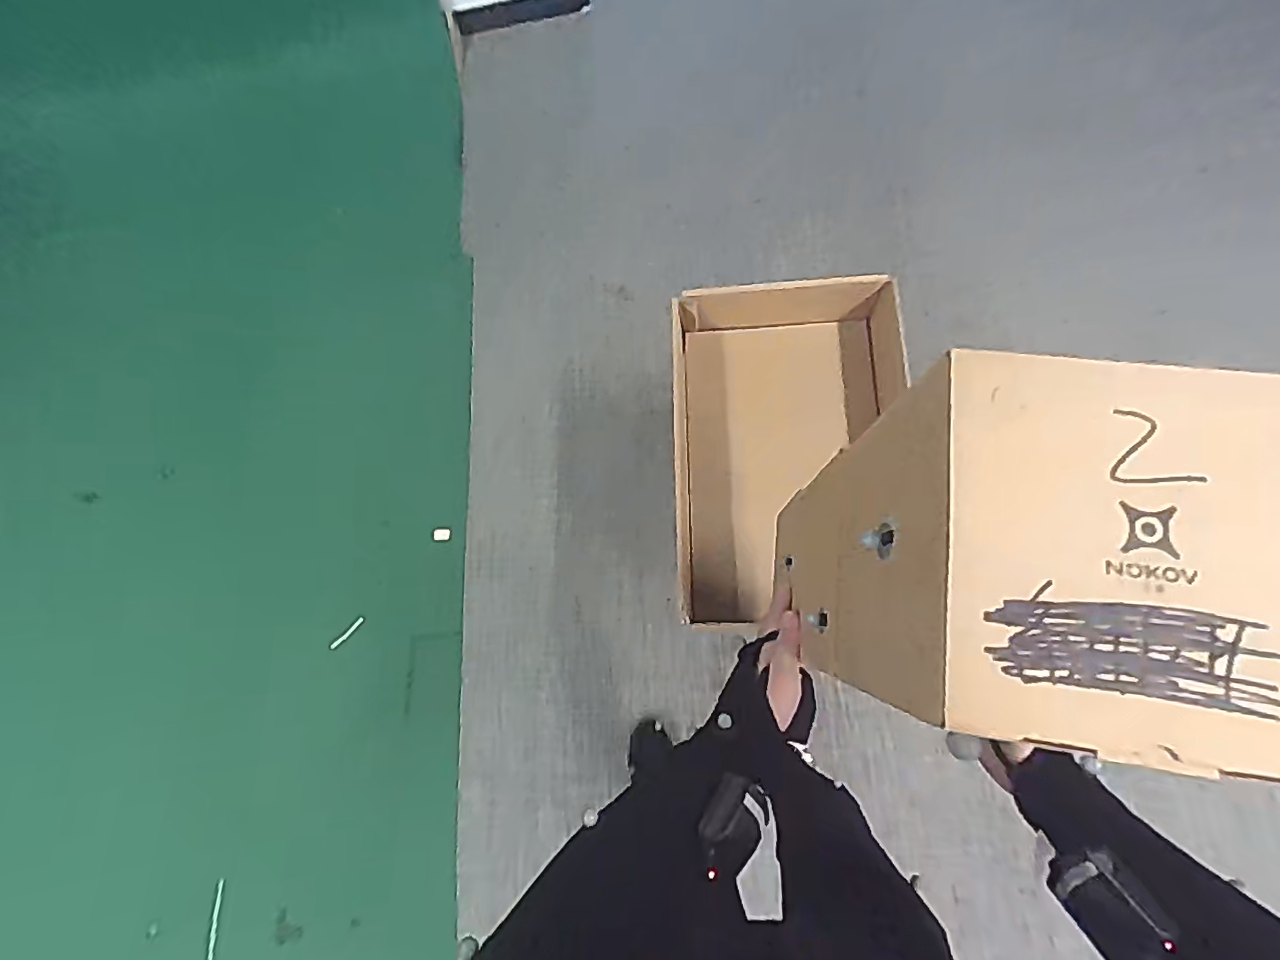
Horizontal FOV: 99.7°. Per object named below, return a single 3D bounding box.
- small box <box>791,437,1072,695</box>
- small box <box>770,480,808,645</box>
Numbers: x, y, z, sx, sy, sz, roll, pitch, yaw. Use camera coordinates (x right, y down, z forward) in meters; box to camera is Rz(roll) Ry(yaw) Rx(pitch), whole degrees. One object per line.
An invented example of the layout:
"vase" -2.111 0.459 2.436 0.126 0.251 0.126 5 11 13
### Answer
"small box" 0.234 0.075 0.477 0.168 0.176 0.179 5 78 6
"small box" 0.250 0.110 0.634 0.168 0.176 0.179 5 77 7
